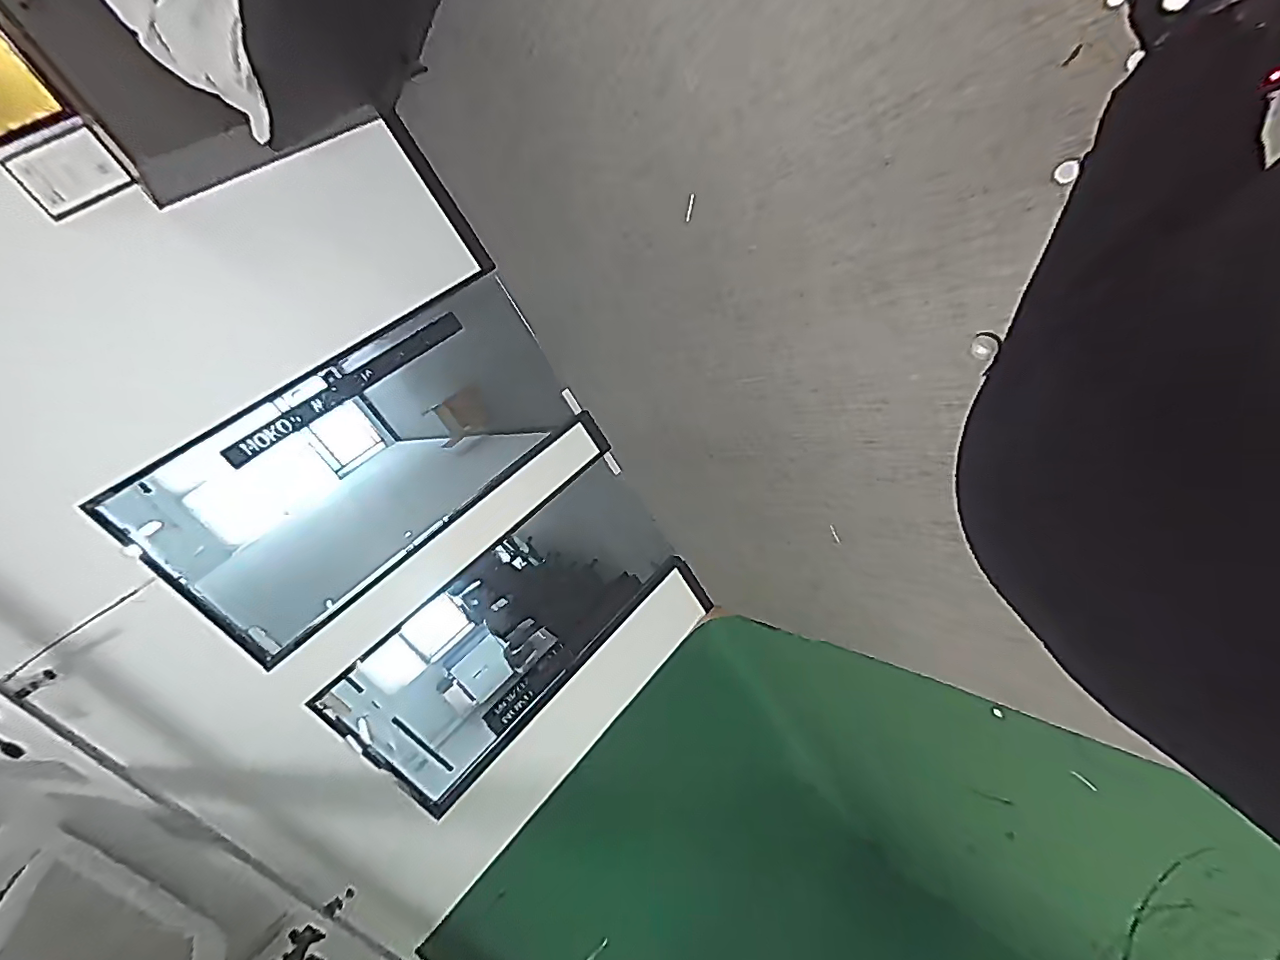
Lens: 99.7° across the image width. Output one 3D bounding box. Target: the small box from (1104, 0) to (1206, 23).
[{"bbox_3d":[0.501,-0.513,0.432,0.168,0.179,0.176,17,124,44],"label":"small box"}]
